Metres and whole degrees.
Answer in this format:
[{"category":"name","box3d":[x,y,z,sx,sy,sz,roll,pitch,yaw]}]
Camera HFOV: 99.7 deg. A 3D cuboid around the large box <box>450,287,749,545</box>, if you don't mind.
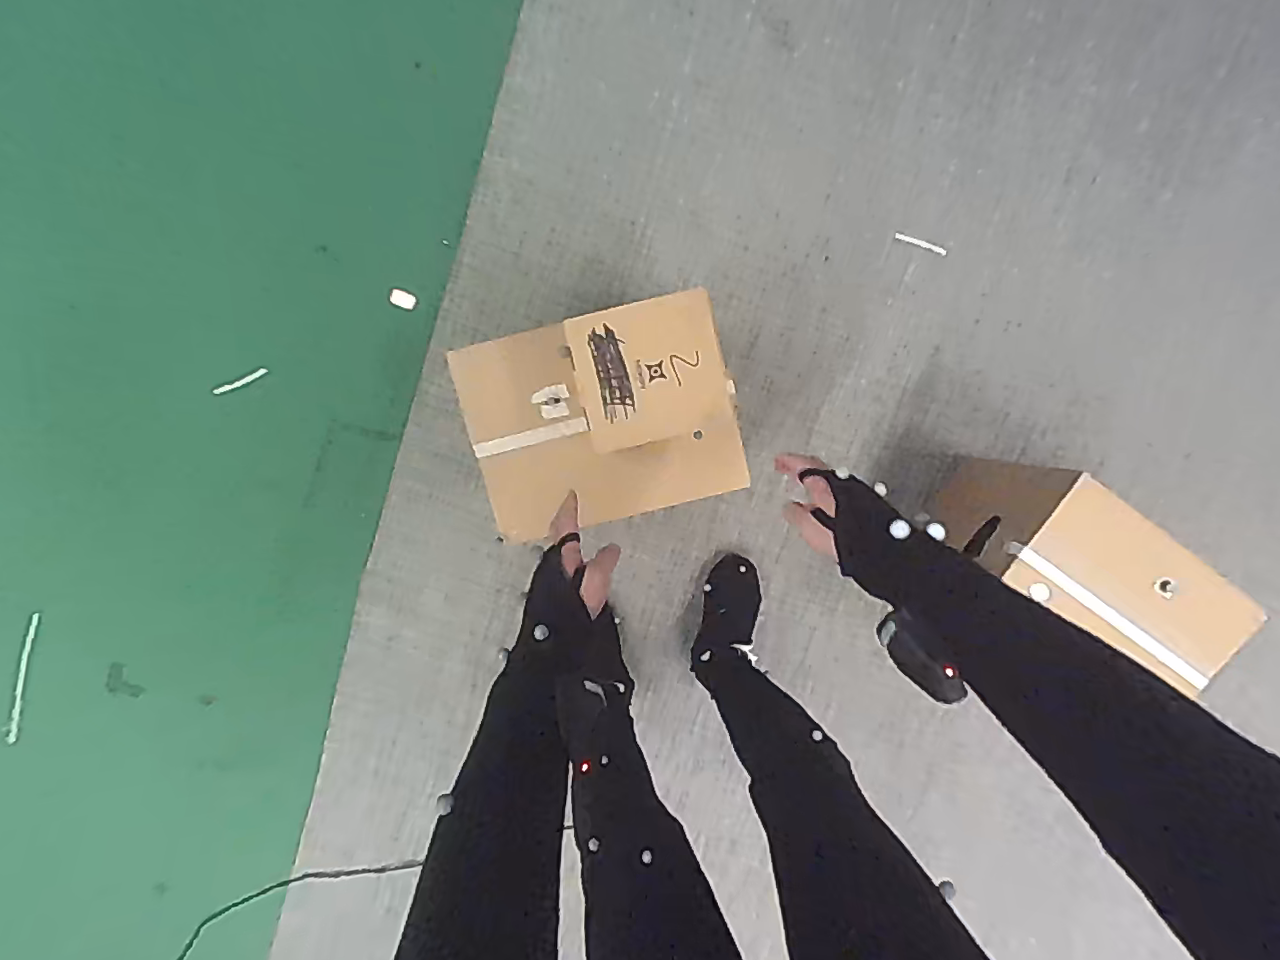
[{"category":"large box","box3d":[-0.057,-0.114,0.971,0.408,0.320,0.320,-14,97,2]}]
